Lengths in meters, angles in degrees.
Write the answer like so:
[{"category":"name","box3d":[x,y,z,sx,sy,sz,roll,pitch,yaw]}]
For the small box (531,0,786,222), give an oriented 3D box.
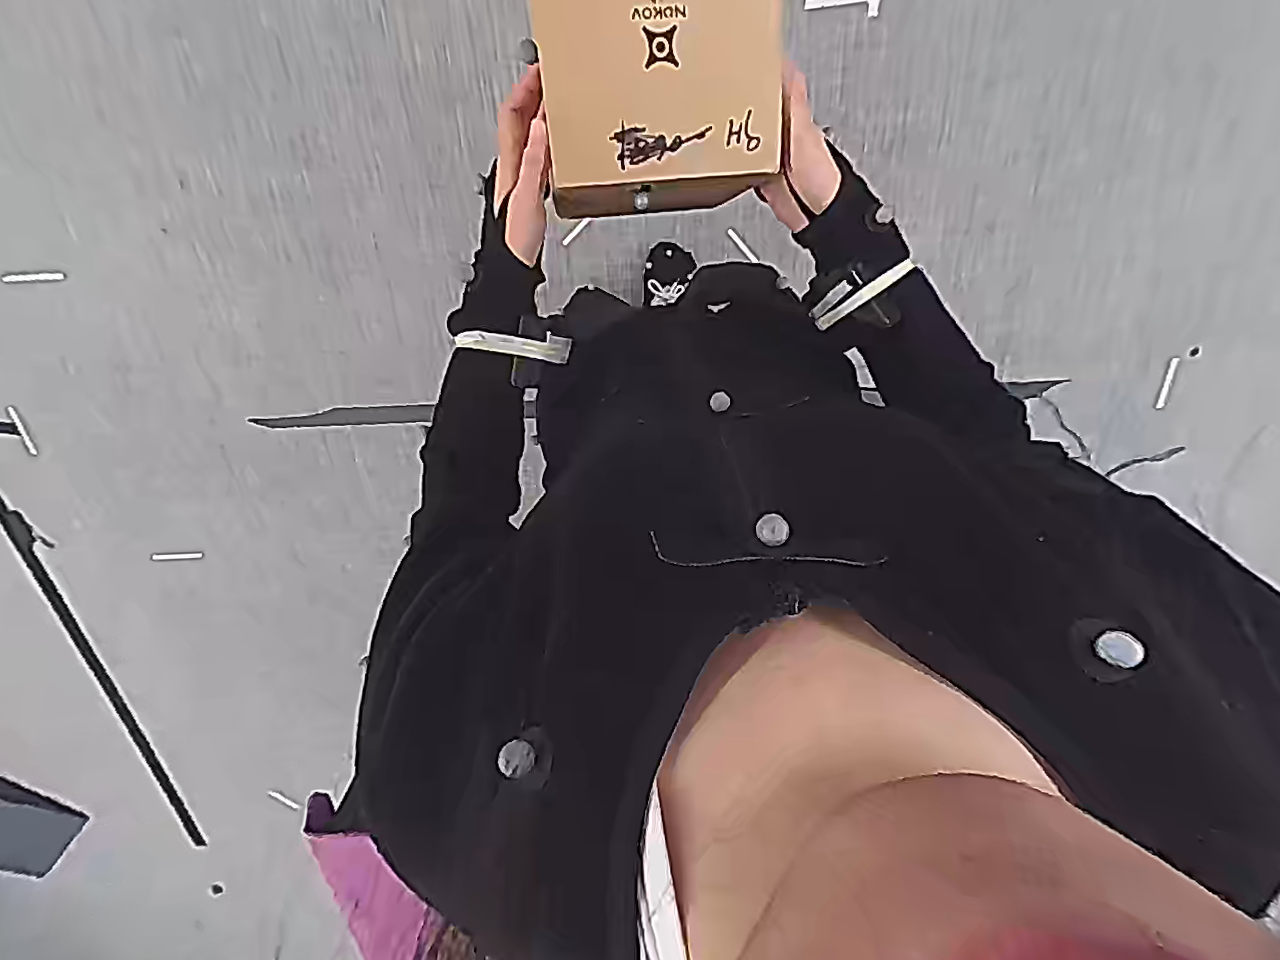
[{"category":"small box","box3d":[0.005,-0.317,0.429,0.168,0.176,0.179,-7,109,-6]}]
